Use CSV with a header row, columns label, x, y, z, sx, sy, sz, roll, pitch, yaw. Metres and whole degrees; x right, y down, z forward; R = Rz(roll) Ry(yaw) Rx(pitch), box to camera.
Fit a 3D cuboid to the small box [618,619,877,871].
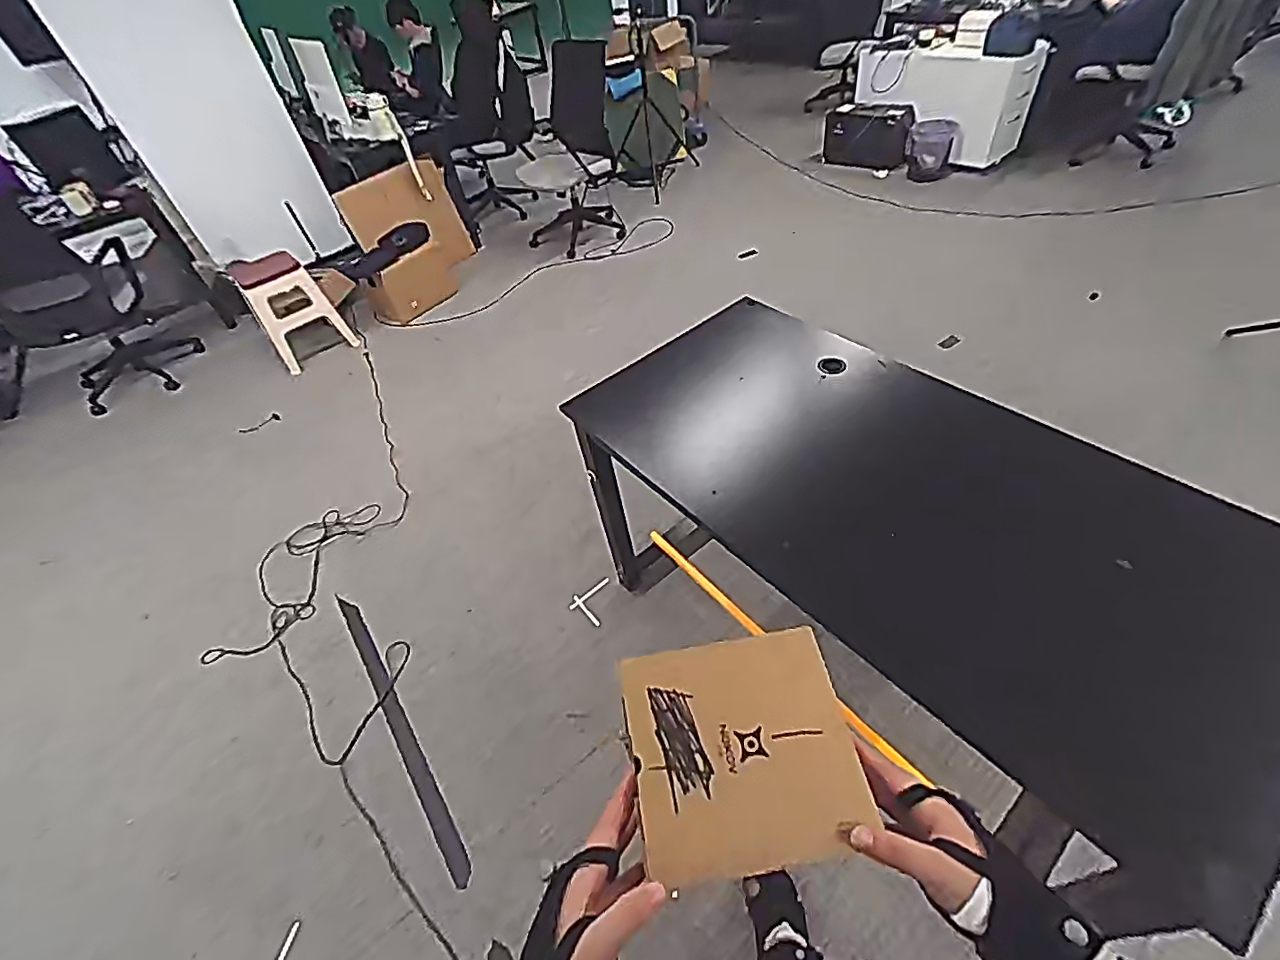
label,x,y,z,sx,sy,sz,roll,pitch,yaw
small box,0.081,0.249,0.500,0.179,0.176,0.168,-8,55,-4
